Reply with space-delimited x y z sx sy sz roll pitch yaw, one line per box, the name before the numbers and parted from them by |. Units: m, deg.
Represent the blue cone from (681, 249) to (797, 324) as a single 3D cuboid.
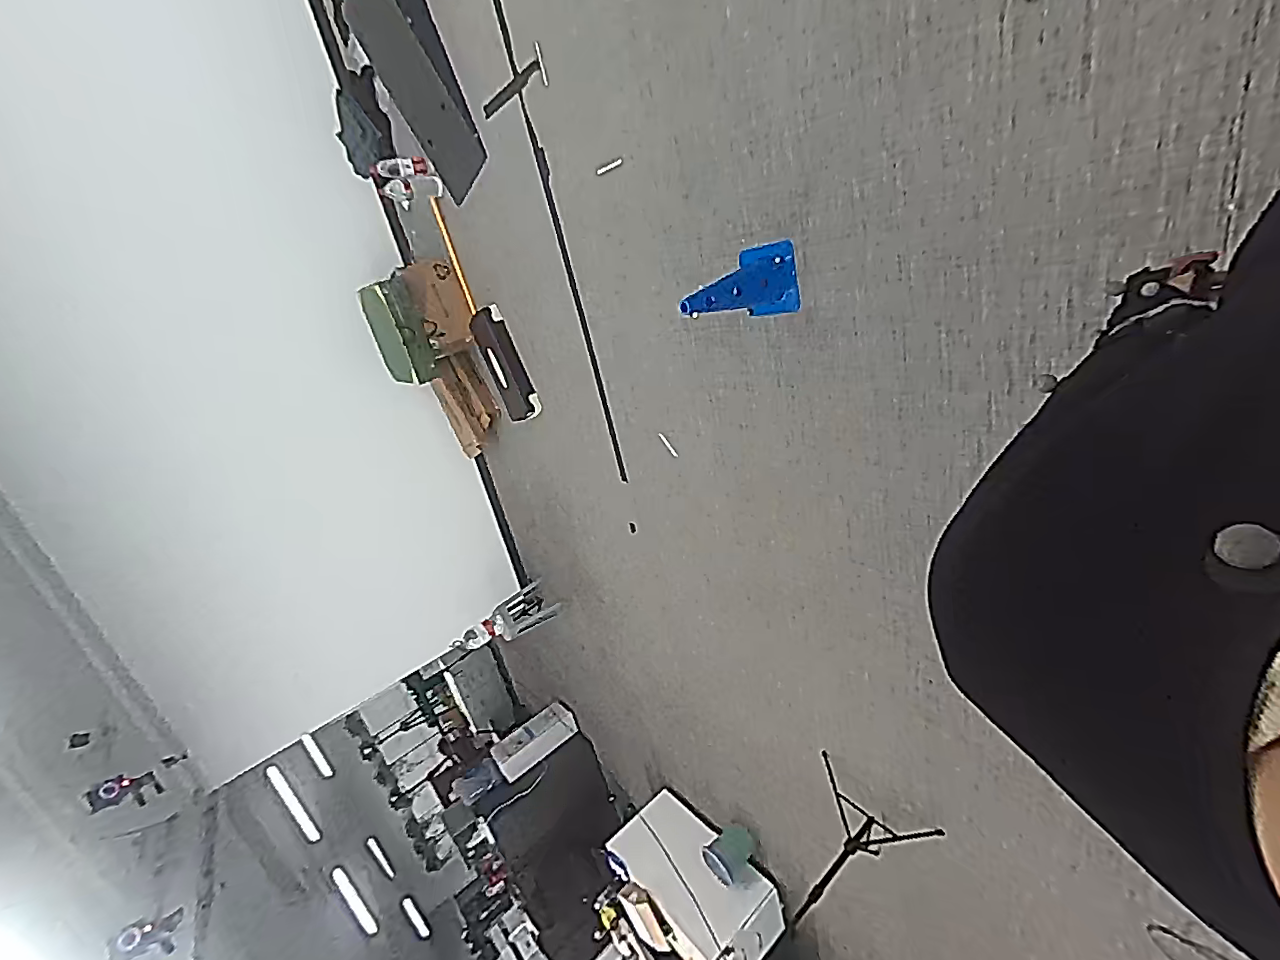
blue cone | 0.259 -0.520 1.538 0.193 0.380 0.192 15 126 50
